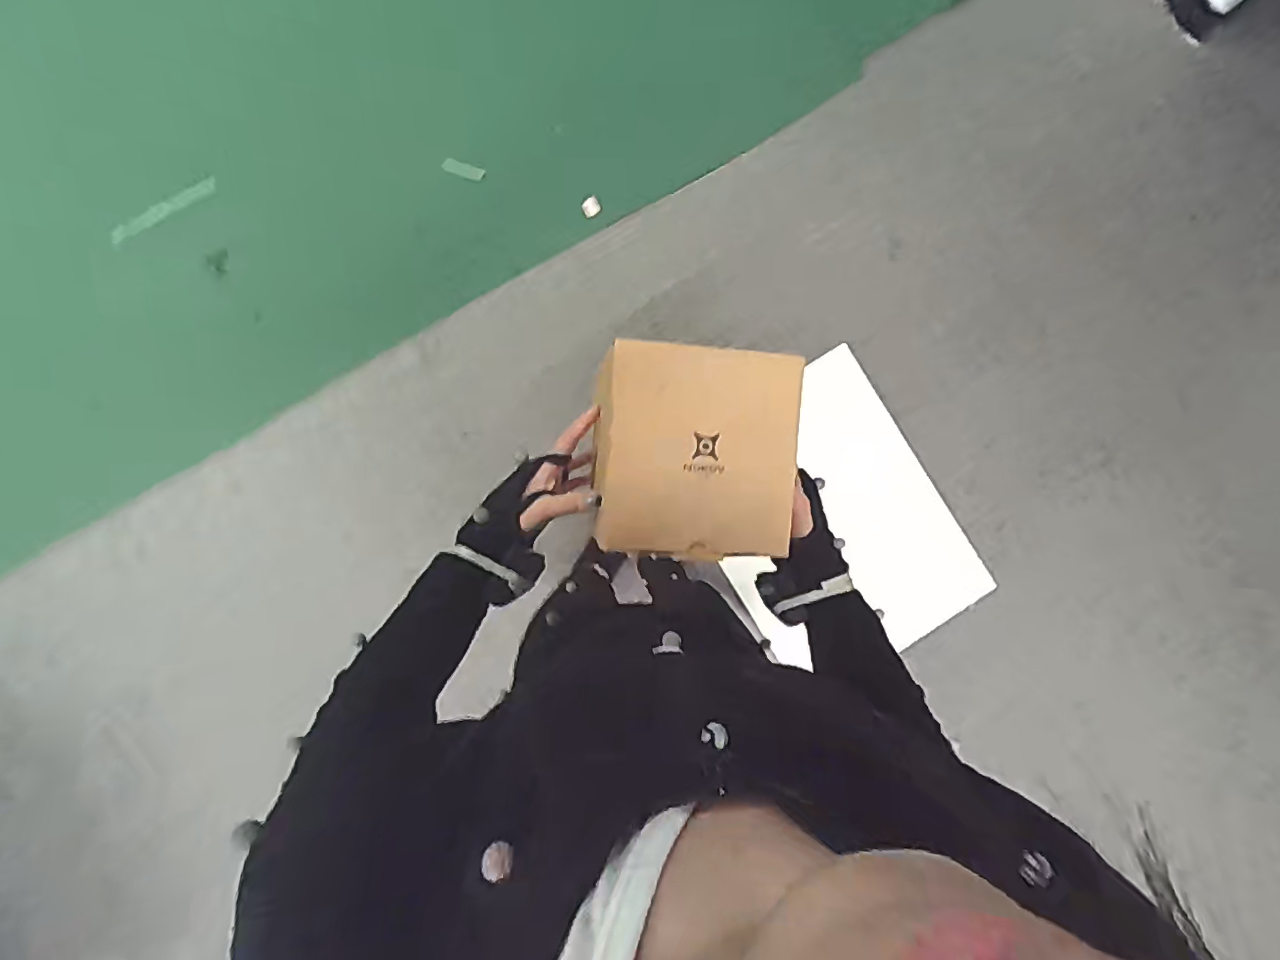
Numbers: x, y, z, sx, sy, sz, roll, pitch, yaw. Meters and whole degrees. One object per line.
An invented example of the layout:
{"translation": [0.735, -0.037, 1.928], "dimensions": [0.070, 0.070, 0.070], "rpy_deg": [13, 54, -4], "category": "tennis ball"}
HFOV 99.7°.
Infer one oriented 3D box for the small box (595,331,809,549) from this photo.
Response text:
{"translation": [0.045, -0.034, 0.521], "dimensions": [0.168, 0.176, 0.179], "rpy_deg": [1, 94, -9], "category": "small box"}
